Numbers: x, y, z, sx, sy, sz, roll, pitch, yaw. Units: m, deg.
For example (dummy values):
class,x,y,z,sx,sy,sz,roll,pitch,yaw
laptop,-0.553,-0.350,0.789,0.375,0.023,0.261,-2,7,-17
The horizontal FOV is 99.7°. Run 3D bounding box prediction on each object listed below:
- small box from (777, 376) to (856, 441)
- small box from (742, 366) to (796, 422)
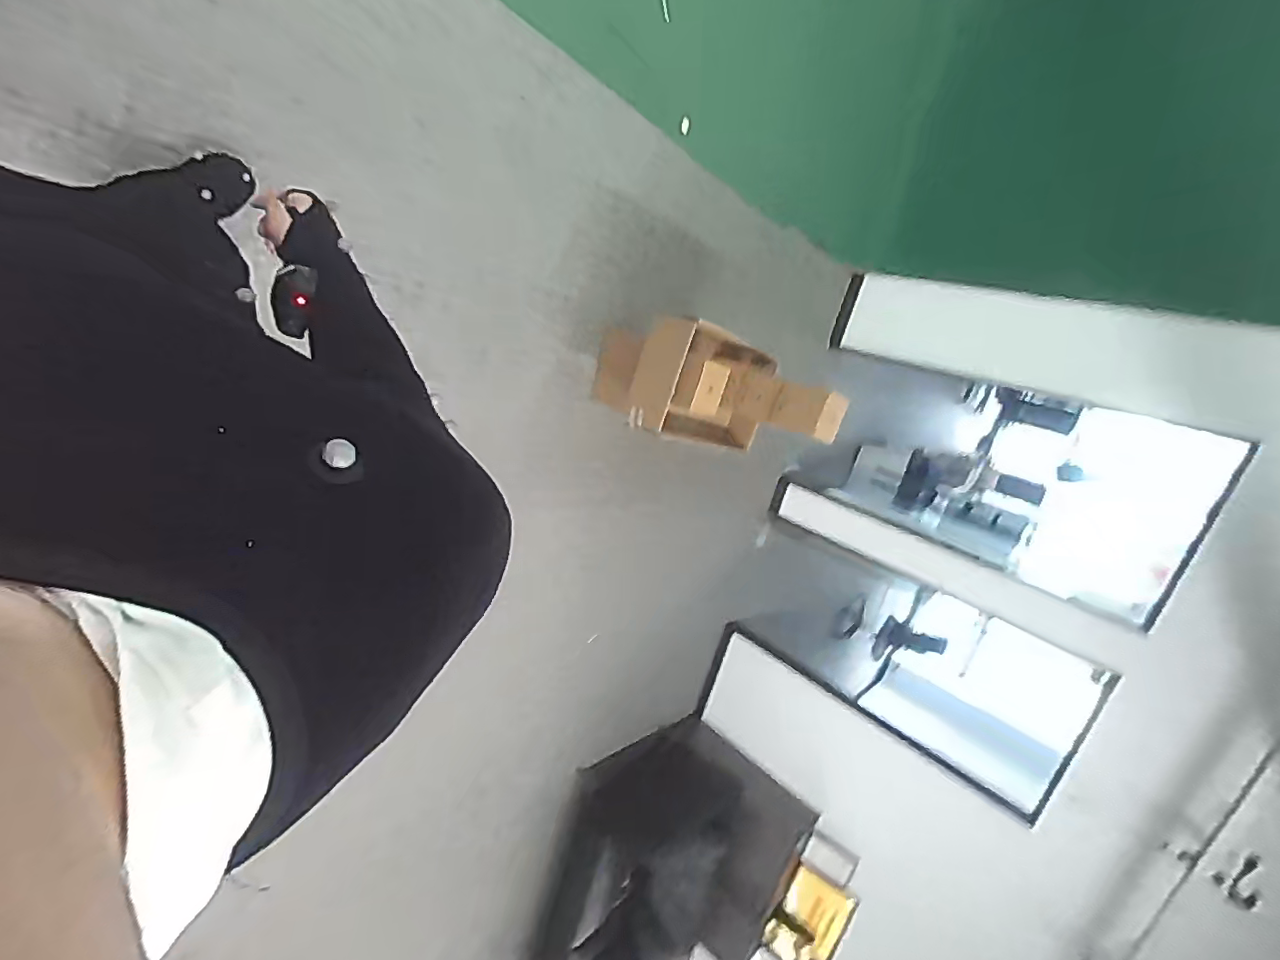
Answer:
class,x,y,z,sx,sy,sz,roll,pitch,yaw
small box,0.597,-0.245,1.838,0.179,0.176,0.168,7,106,-49
small box,0.495,-0.307,1.953,0.179,0.176,0.168,-3,115,-46
